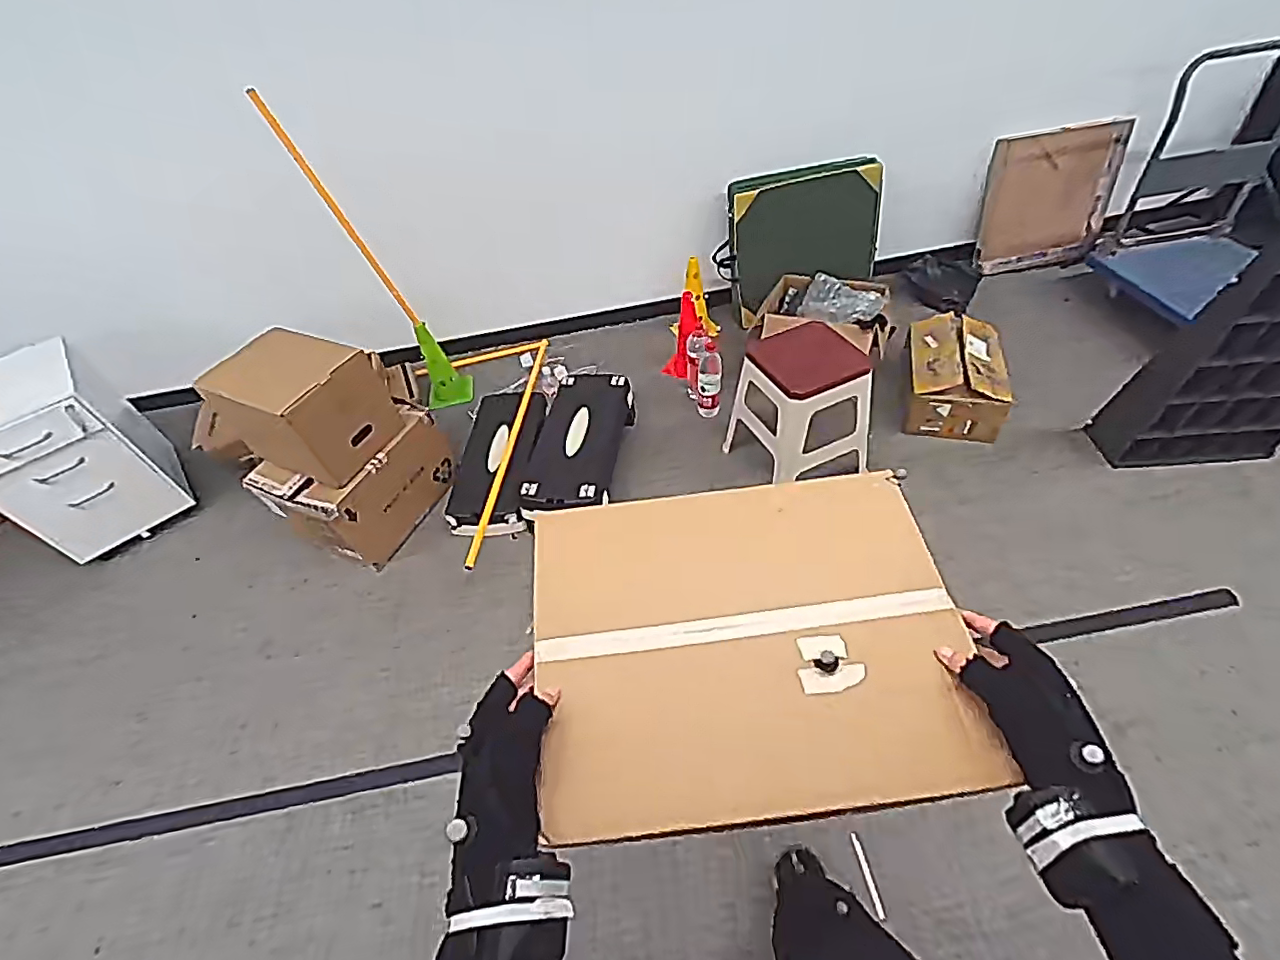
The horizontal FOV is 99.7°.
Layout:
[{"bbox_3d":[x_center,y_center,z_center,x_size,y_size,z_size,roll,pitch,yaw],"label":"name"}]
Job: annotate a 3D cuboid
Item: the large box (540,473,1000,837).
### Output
[{"bbox_3d":[0.105,0.226,0.664,0.408,0.320,0.320,-7,56,-1],"label":"large box"}]
